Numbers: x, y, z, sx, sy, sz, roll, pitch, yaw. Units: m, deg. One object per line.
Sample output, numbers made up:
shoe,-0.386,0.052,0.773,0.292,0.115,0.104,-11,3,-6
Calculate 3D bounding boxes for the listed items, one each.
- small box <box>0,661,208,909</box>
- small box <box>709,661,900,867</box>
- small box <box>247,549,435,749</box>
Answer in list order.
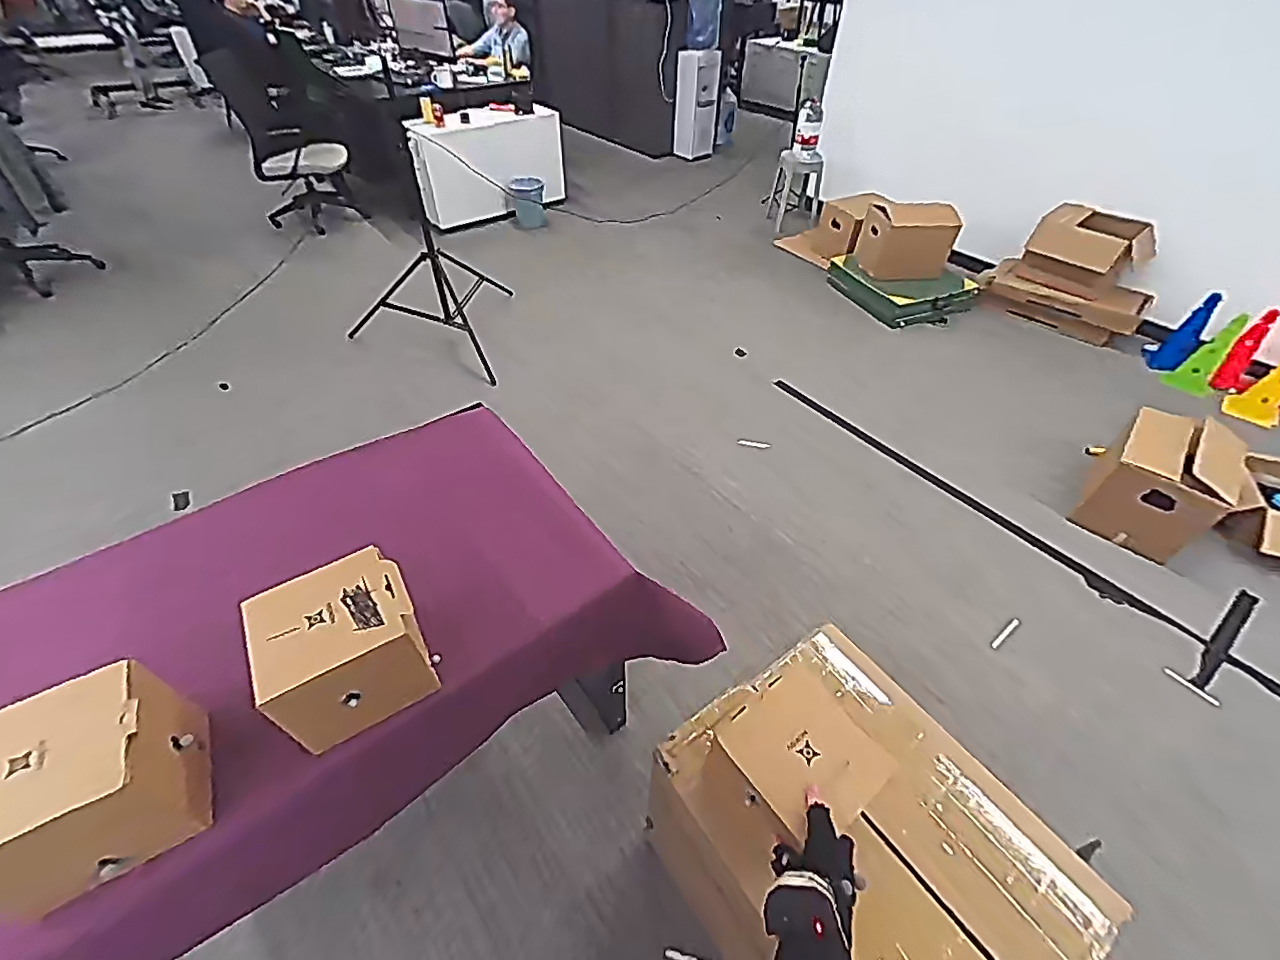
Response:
small box,-0.641,0.353,0.631,0.179,0.176,0.168,-23,49,-23
small box,0.213,0.397,0.753,0.168,0.176,0.179,-31,56,-24
small box,-0.404,0.234,0.754,0.179,0.176,0.168,-24,50,-22
